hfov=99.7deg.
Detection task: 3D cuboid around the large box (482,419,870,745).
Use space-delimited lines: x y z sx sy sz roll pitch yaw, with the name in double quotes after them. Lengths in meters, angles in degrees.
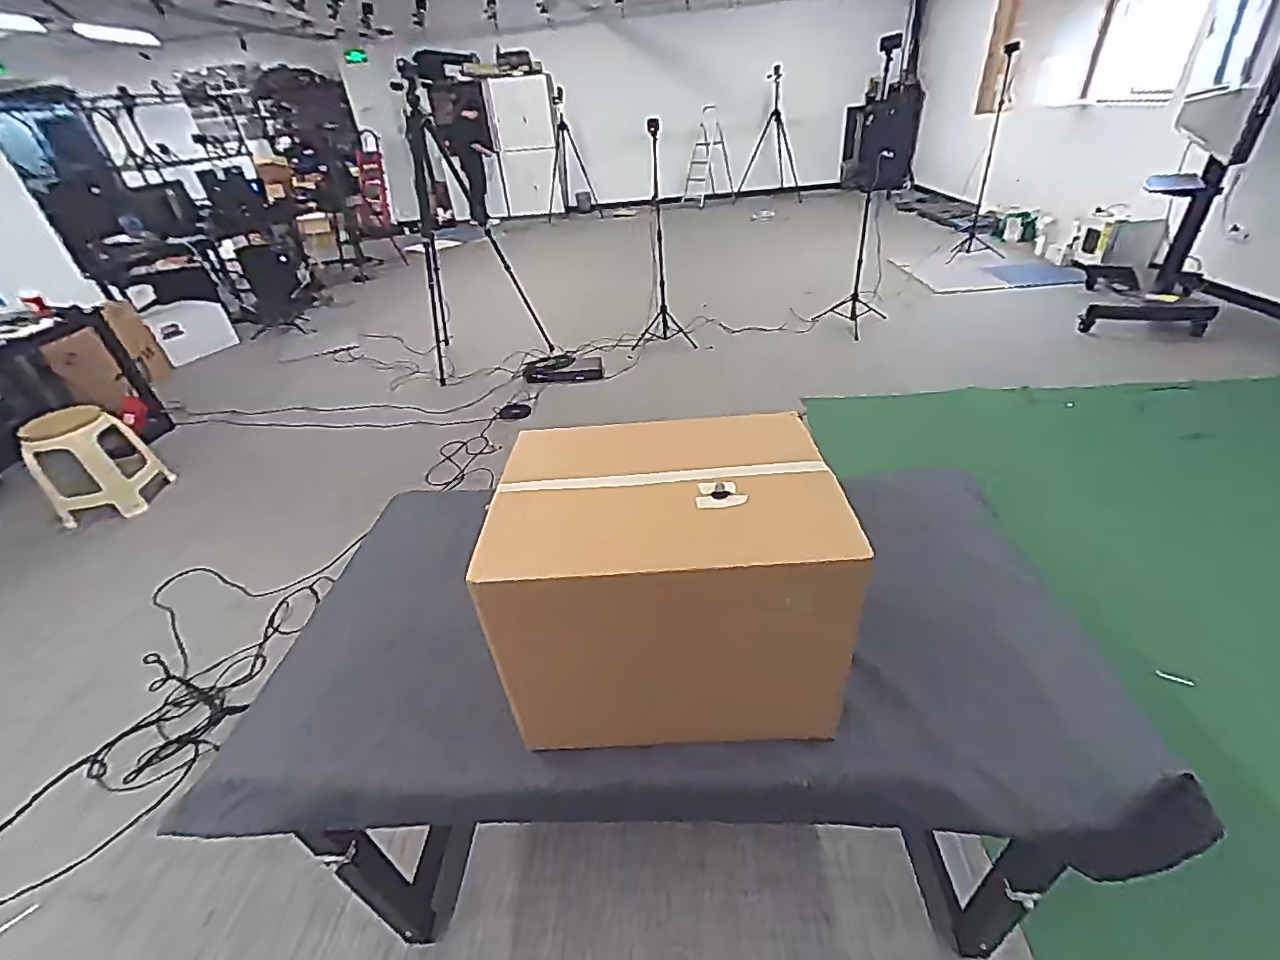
0.040 0.130 0.747 0.408 0.320 0.320 -3 34 2 "large box"
